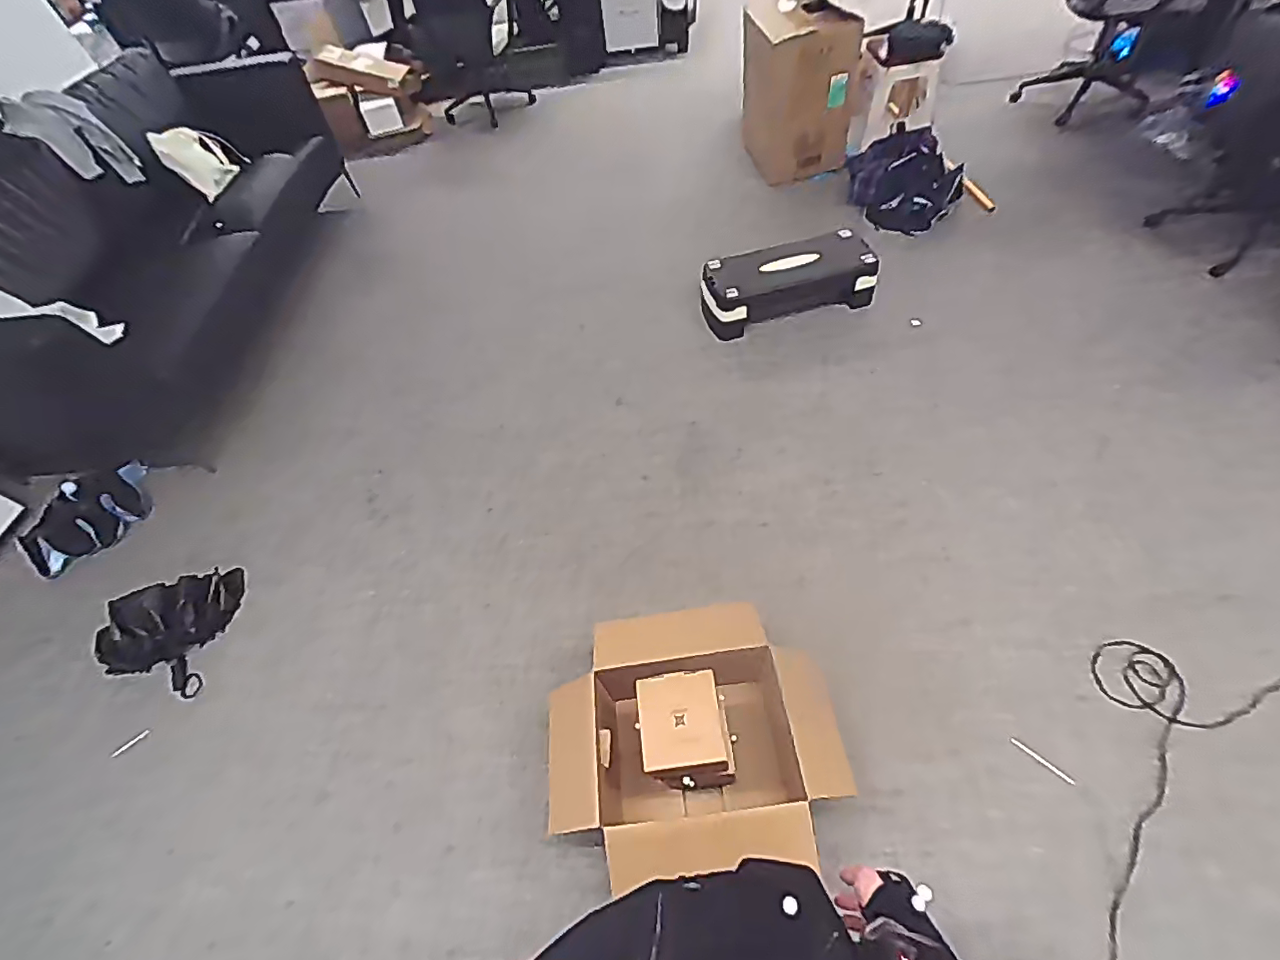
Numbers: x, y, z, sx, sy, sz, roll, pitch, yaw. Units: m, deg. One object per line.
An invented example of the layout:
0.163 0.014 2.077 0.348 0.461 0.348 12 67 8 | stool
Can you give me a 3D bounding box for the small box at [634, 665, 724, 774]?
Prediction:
0.084 0.516 1.159 0.168 0.176 0.179 -10 56 4 | small box
